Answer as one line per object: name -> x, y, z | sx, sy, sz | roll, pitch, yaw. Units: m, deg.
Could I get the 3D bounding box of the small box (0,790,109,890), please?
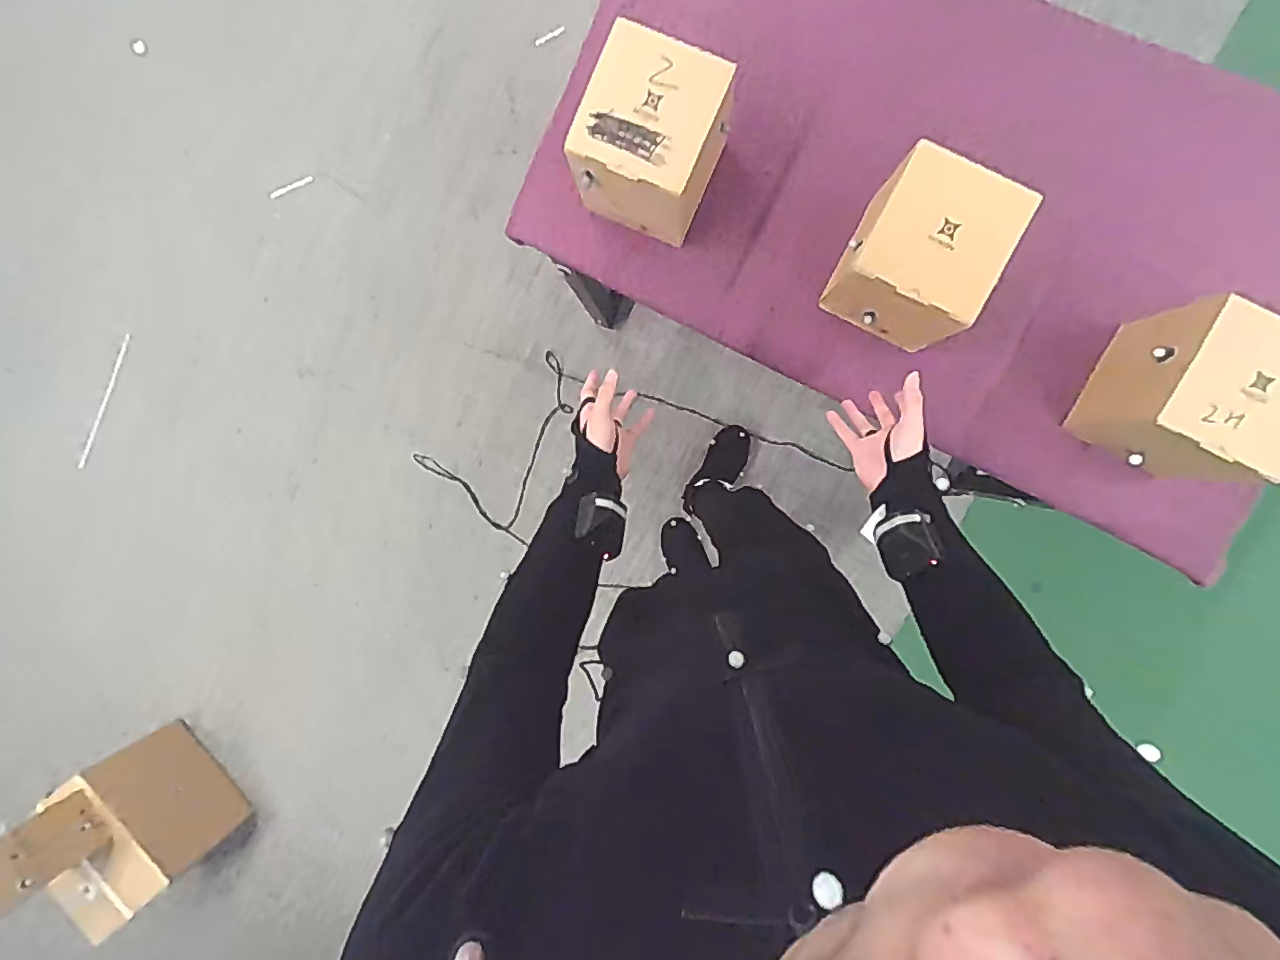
small box -> -1.551, 0.952, 1.391 | 0.179, 0.176, 0.168 | -34, 92, 4

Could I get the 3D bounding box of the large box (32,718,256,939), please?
large box -> -1.509, 1.027, 1.640 | 0.320, 0.320, 0.408 | -40, 92, 6

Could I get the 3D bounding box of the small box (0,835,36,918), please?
small box -> -1.553, 0.962, 1.228 | 0.179, 0.176, 0.168 | -33, 92, 5

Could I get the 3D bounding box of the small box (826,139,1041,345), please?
small box -> 0.382, -0.309, 0.743 | 0.168, 0.176, 0.179 | 27, 95, 1

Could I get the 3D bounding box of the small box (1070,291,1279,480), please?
small box -> 0.741, -0.117, 0.727 | 0.168, 0.176, 0.179 | 28, 95, 3
